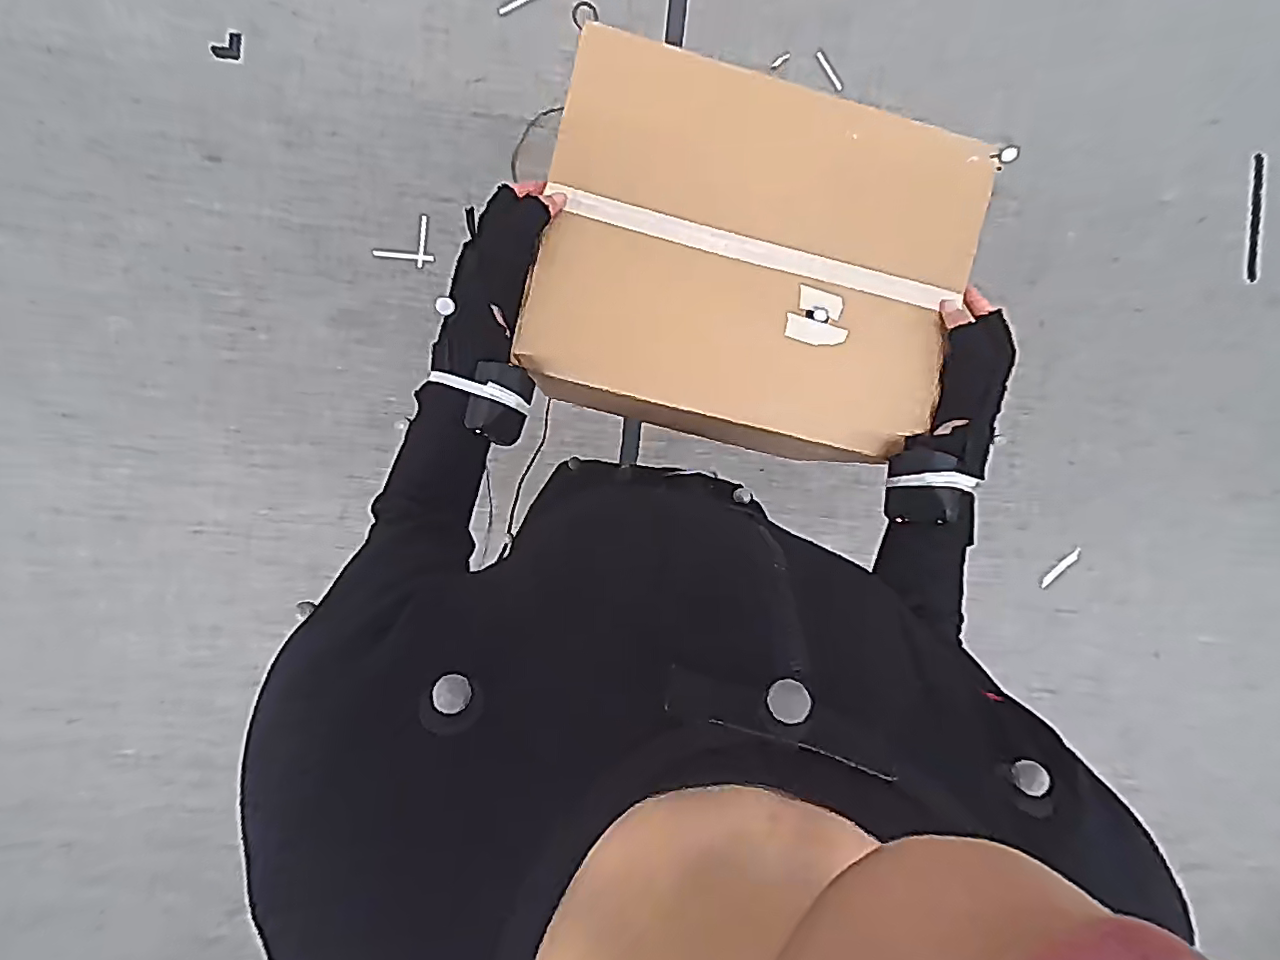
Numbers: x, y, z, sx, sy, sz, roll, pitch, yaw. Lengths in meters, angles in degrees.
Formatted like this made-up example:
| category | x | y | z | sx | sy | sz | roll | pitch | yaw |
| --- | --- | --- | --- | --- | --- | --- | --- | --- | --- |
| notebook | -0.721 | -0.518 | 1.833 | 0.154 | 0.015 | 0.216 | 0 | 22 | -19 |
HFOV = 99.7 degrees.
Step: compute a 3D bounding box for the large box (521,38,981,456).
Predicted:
| category | x | y | z | sx | sy | sz | roll | pitch | yaw |
| --- | --- | --- | --- | --- | --- | --- | --- | --- | --- |
| large box | 0.097 | -0.223 | 0.664 | 0.408 | 0.320 | 0.320 | 13 | 93 | -6 |
